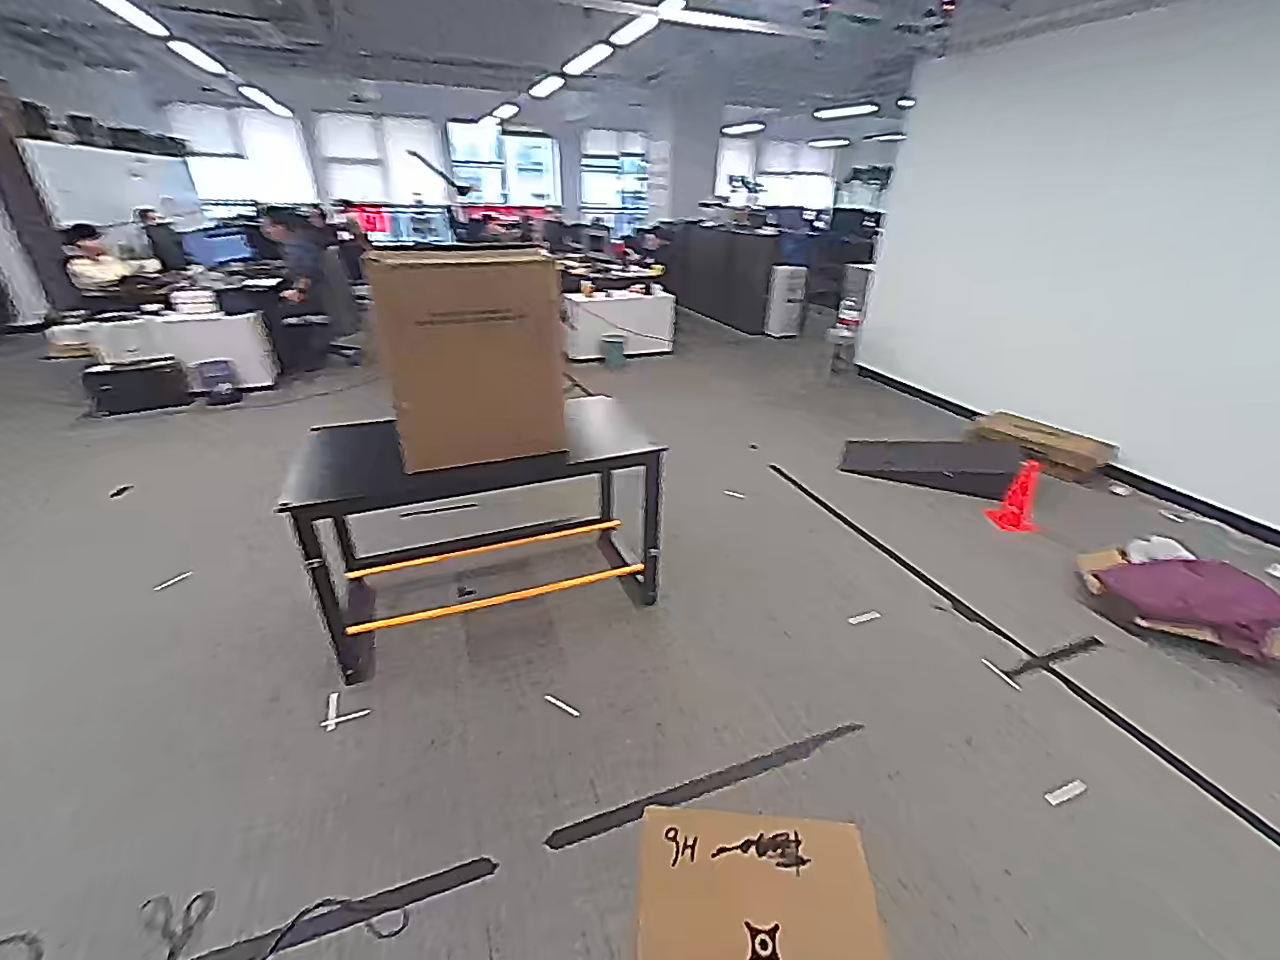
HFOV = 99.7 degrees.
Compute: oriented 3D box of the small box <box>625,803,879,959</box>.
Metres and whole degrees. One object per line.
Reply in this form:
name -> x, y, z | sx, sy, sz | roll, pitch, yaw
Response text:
small box -> 0.071, 0.371, 0.400 | 0.168, 0.176, 0.179 | 4, 39, 0
